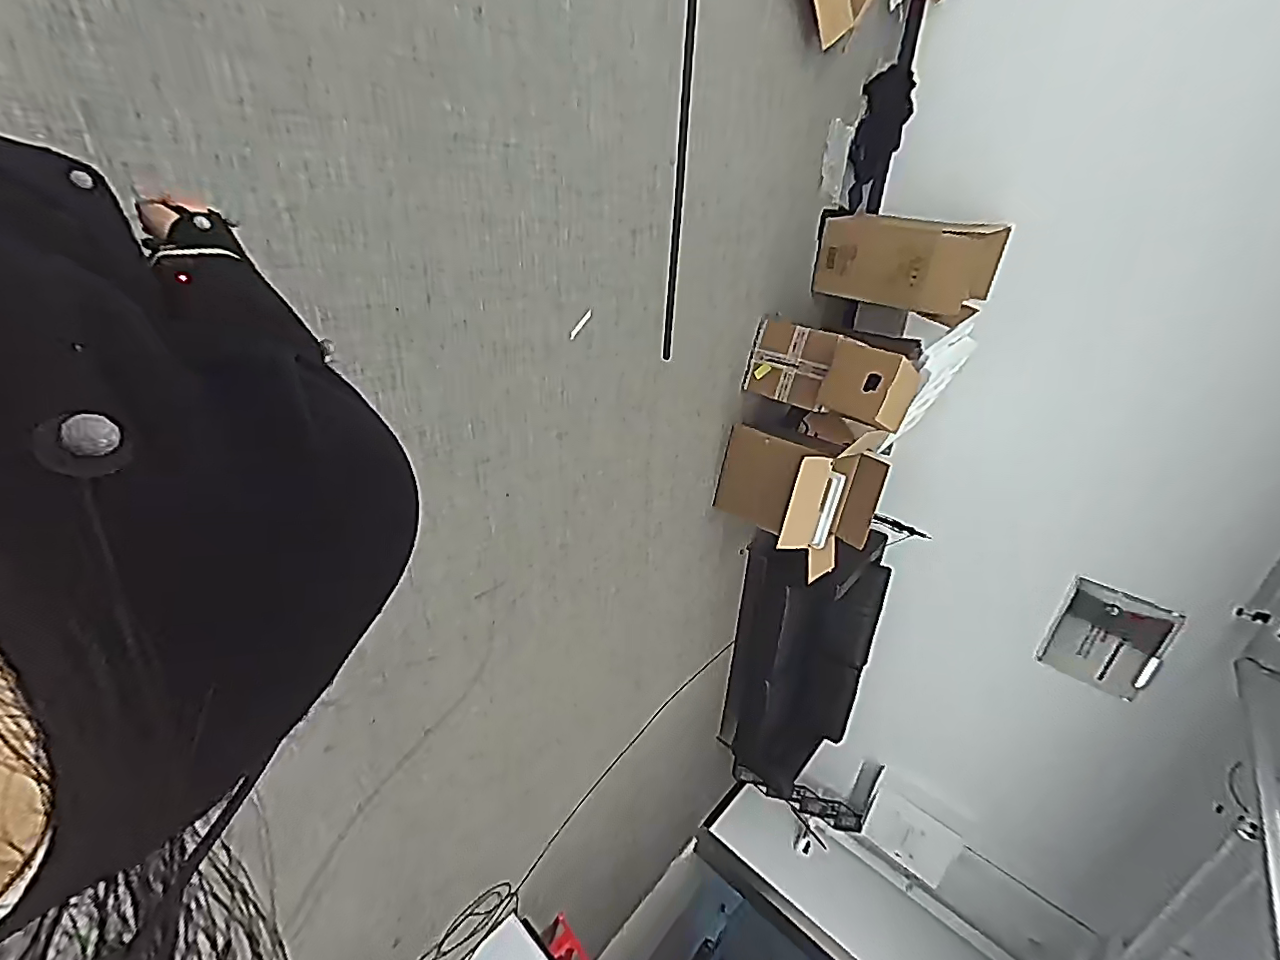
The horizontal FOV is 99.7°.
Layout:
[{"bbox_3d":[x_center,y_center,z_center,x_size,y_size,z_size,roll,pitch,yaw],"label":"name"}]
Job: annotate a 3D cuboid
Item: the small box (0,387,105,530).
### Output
[{"bbox_3d":[-1.110,-0.042,0.955,0.168,0.176,0.179,-35,134,-37],"label":"small box"}]
